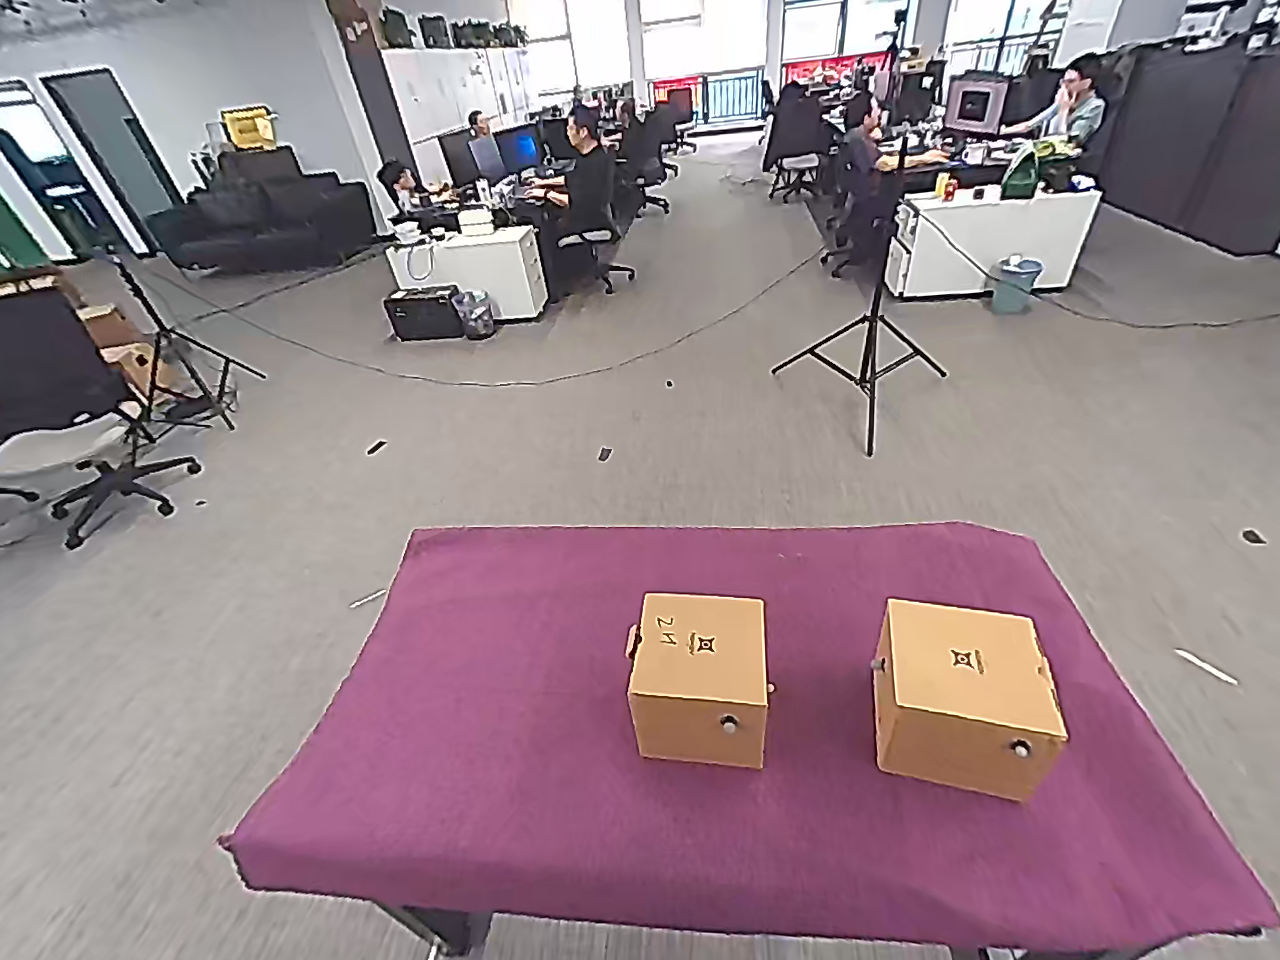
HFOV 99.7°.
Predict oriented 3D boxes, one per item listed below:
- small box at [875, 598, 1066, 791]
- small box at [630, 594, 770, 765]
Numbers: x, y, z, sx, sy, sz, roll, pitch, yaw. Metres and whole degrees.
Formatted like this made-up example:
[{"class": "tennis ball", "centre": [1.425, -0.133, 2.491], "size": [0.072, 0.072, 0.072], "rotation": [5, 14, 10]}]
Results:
[{"class": "small box", "centre": [0.417, 0.285, 0.723], "size": [0.179, 0.176, 0.168], "rotation": [5, 39, 16]}, {"class": "small box", "centre": [0.092, 0.287, 0.780], "size": [0.179, 0.176, 0.168], "rotation": [0, 37, 10]}]
